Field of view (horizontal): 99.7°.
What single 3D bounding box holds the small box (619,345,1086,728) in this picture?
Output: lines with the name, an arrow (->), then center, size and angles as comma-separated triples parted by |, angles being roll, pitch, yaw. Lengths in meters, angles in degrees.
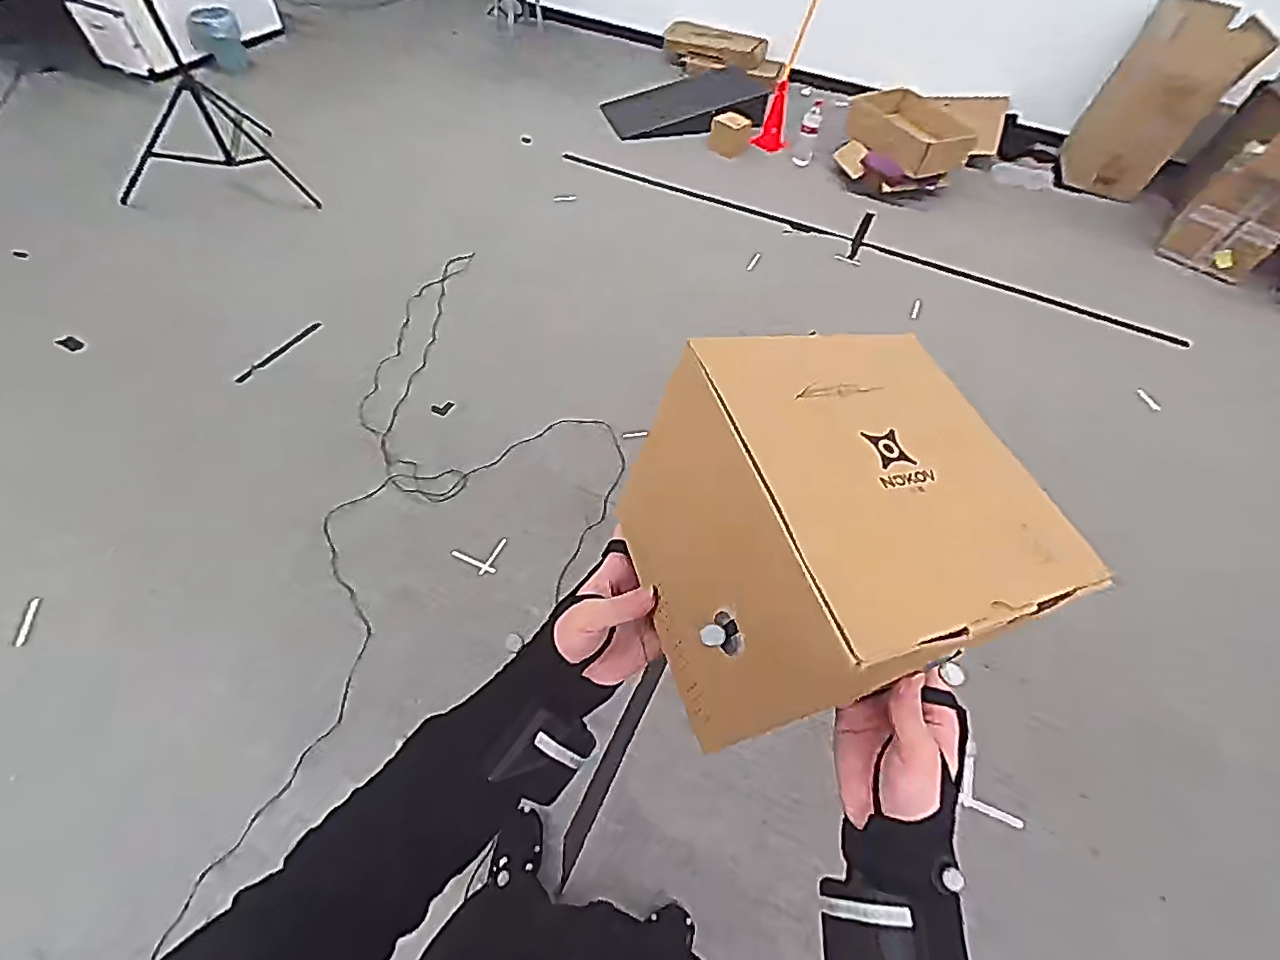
small box -> 0.102, 0.039, 0.341 | 0.168, 0.176, 0.179 | -8, 57, -24
